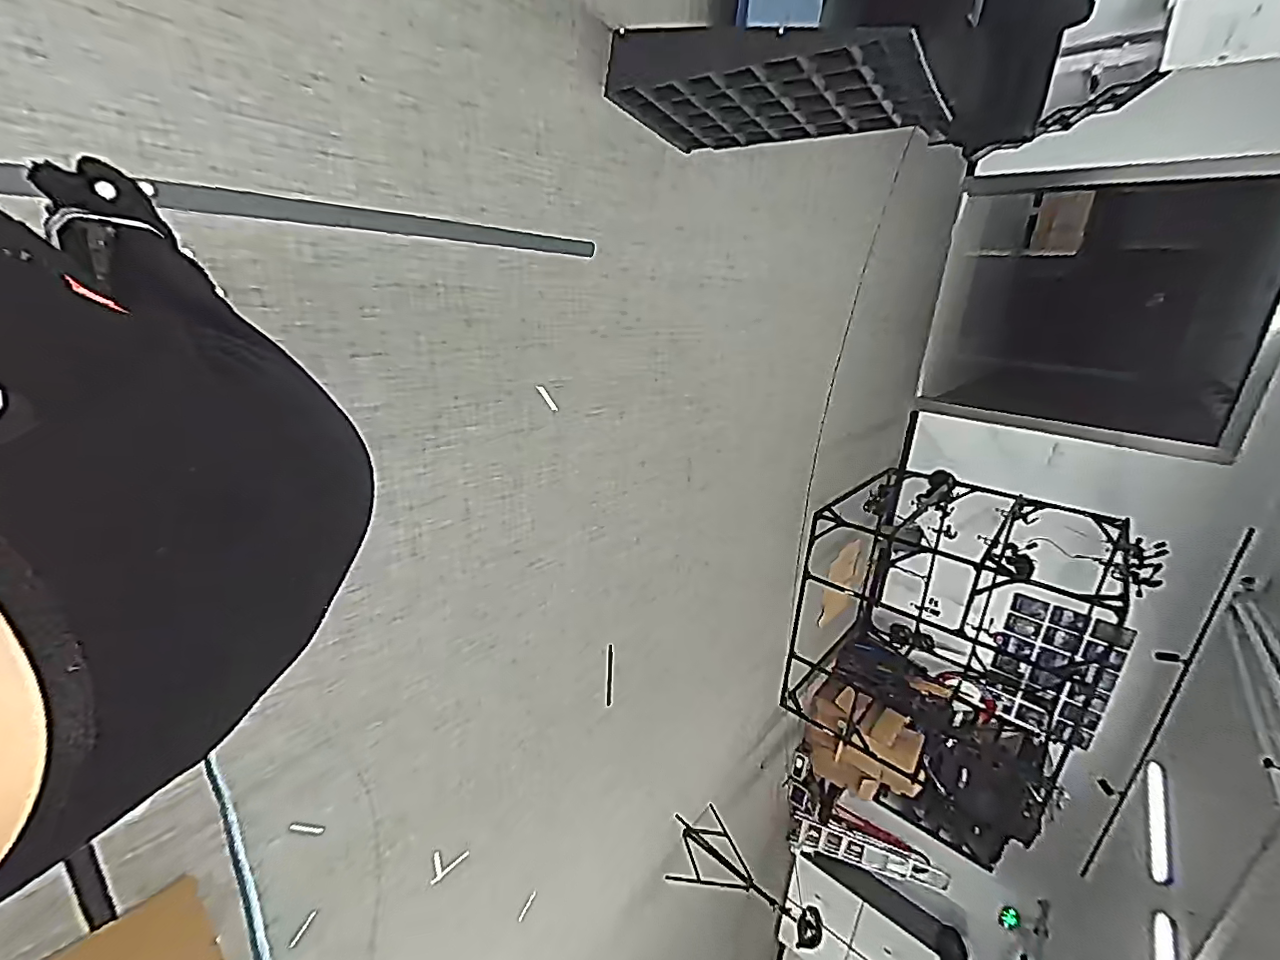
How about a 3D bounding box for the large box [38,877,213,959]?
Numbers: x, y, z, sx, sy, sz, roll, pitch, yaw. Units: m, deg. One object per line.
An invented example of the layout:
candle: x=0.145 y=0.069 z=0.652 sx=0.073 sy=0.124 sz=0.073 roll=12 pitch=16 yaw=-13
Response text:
large box: x=-1.250 y=1.275 z=1.262 sx=0.408 sy=0.320 sz=0.320 roll=-18 pitch=119 yaw=-47
